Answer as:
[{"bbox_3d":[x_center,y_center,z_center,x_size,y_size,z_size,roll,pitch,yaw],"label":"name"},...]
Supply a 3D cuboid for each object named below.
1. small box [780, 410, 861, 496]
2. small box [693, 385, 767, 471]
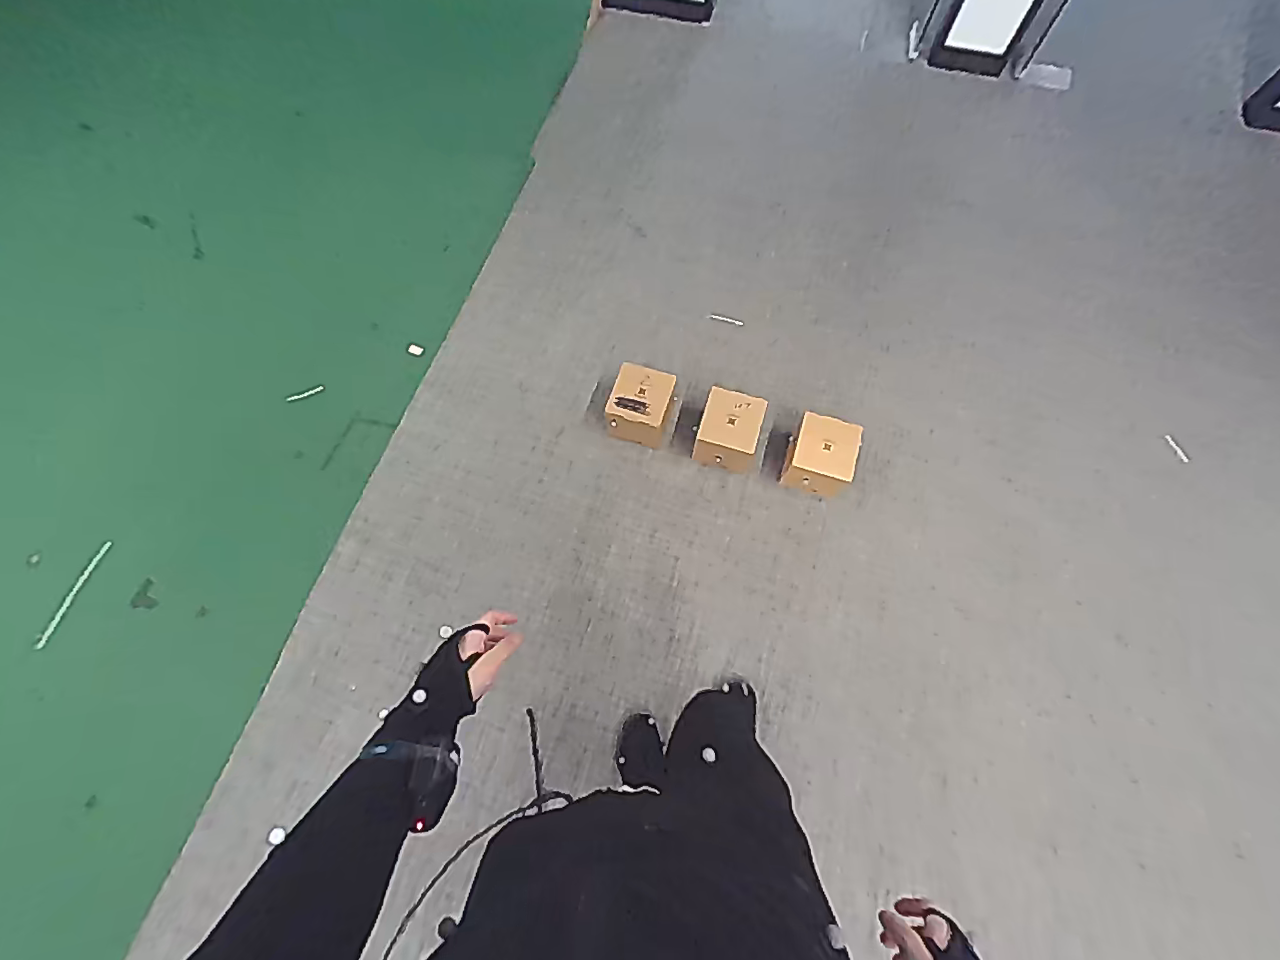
[{"bbox_3d":[0.513,-0.072,1.557,0.168,0.176,0.179,16,71,7],"label":"small box"},{"bbox_3d":[0.257,-0.145,1.585,0.168,0.176,0.179,17,71,6],"label":"small box"}]
